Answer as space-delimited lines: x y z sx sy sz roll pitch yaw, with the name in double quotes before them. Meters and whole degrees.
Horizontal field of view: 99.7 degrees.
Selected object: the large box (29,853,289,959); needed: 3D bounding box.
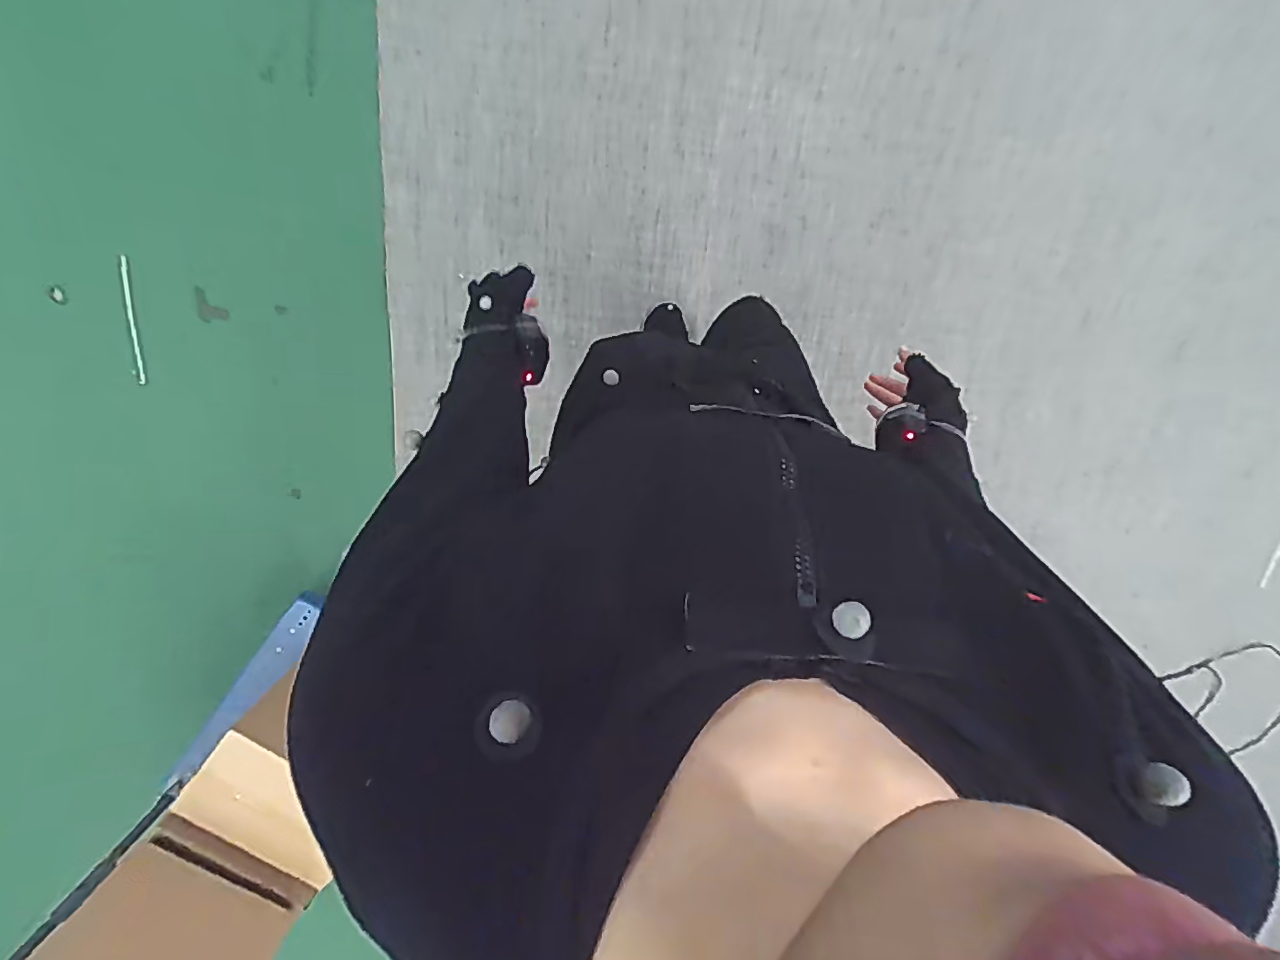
"large box" -1.073 1.105 1.151 0.408 0.320 0.320 37 109 -9
